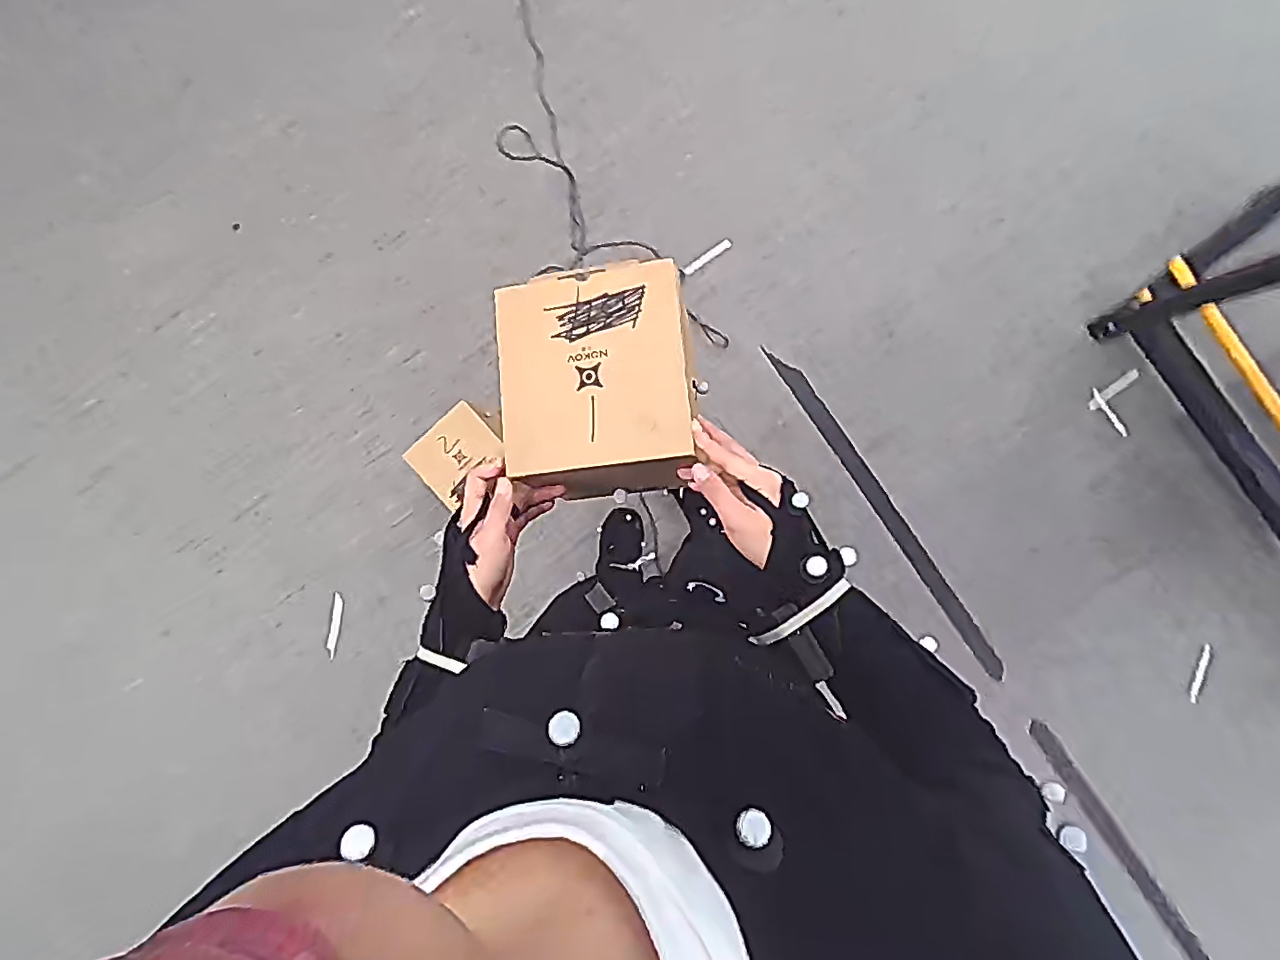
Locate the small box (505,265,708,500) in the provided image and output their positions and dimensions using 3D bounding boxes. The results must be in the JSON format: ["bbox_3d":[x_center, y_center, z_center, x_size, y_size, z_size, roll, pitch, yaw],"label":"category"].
[{"bbox_3d":[-0.024,-0.082,0.542,0.168,0.176,0.179,-6,80,10],"label":"small box"}]
